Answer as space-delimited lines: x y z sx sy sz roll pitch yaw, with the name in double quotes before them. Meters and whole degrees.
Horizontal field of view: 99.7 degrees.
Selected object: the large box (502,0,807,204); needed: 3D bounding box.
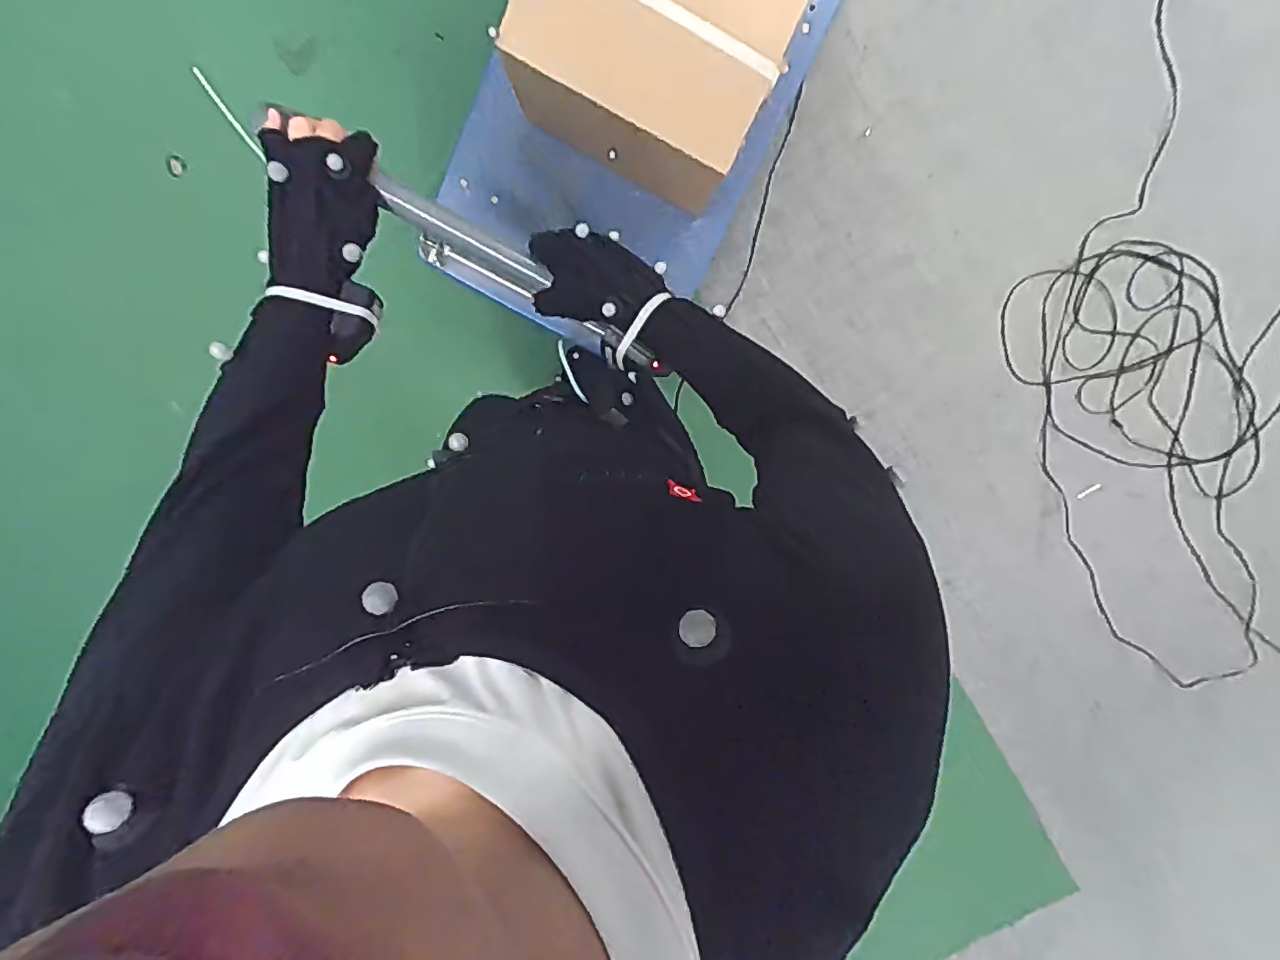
"large box" 0.028 -0.758 0.961 0.408 0.320 0.320 25 102 -8
